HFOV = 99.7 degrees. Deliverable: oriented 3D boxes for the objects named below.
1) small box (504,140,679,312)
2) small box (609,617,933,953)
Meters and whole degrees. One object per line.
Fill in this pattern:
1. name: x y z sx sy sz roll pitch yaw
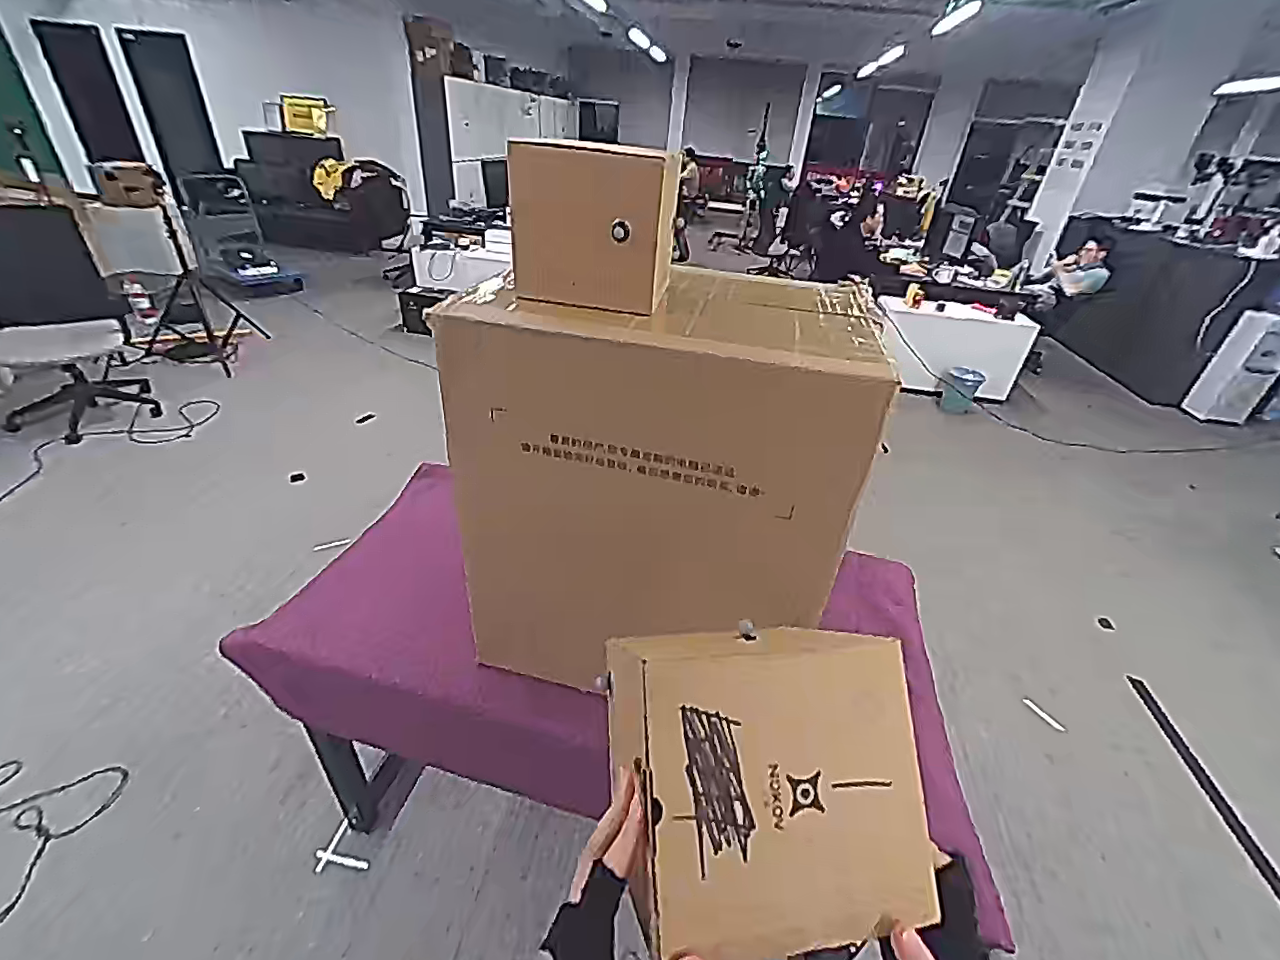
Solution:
1. small box: -0.054 -0.319 0.678 0.179 0.176 0.168 8 33 6
2. small box: 0.071 0.191 0.398 0.179 0.176 0.168 0 78 -12
